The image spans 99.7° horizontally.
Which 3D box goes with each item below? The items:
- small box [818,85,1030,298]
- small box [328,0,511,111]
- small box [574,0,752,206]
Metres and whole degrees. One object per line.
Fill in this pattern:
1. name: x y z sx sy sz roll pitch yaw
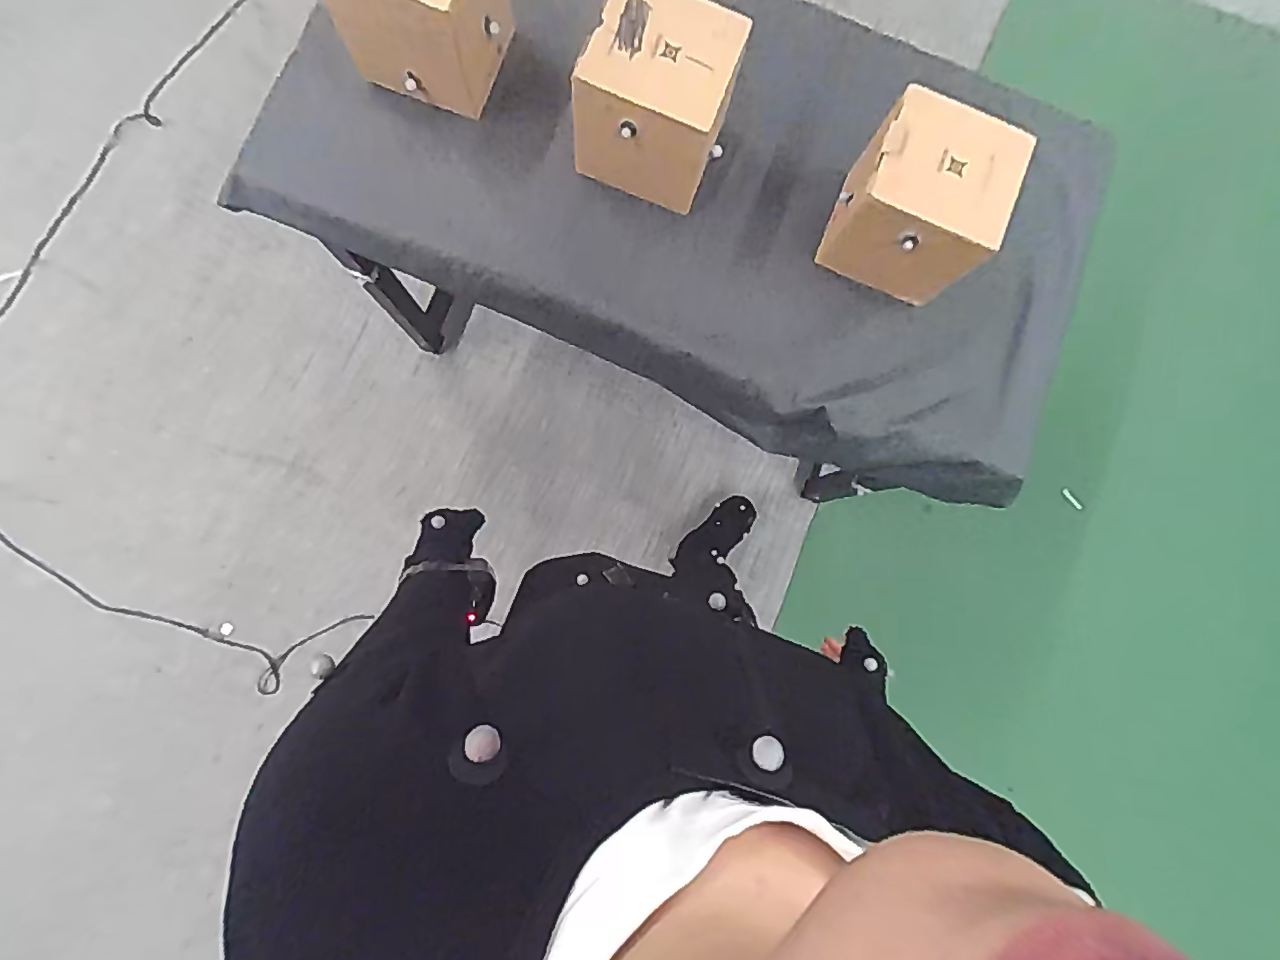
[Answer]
1. small box: 0.374 -0.378 0.744 0.179 0.176 0.168 22 84 -3
2. small box: -0.285 -0.639 0.718 0.179 0.176 0.168 18 83 -3
3. small box: 0.023 -0.509 0.728 0.179 0.176 0.168 21 83 -2
